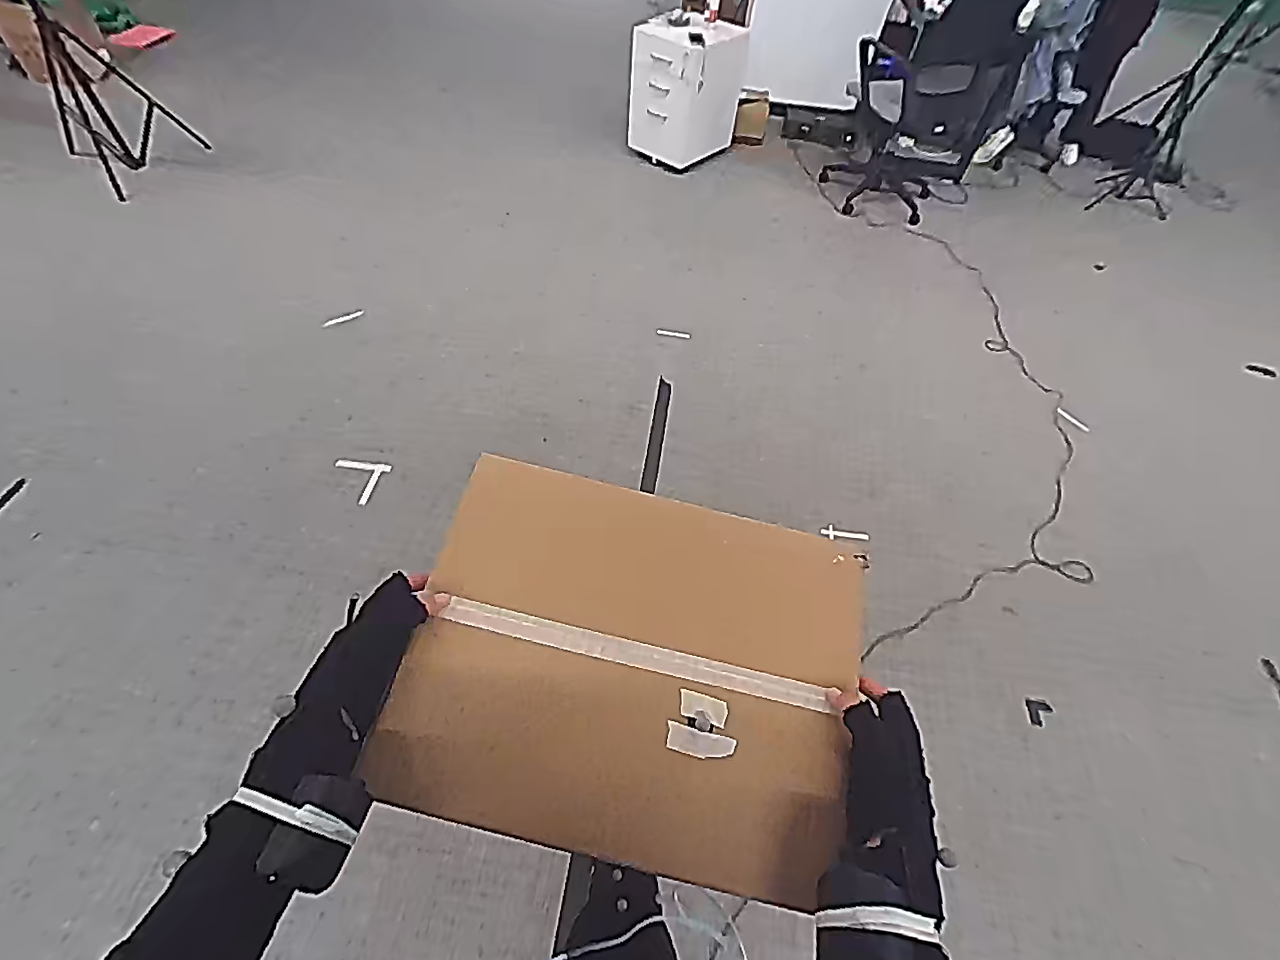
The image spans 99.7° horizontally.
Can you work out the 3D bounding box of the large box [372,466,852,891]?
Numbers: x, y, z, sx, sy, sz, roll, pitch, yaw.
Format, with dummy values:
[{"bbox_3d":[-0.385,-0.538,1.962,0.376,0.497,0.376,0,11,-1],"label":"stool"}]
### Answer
[{"bbox_3d":[-0.015,0.223,0.641,0.408,0.320,0.320,14,65,0],"label":"large box"}]
